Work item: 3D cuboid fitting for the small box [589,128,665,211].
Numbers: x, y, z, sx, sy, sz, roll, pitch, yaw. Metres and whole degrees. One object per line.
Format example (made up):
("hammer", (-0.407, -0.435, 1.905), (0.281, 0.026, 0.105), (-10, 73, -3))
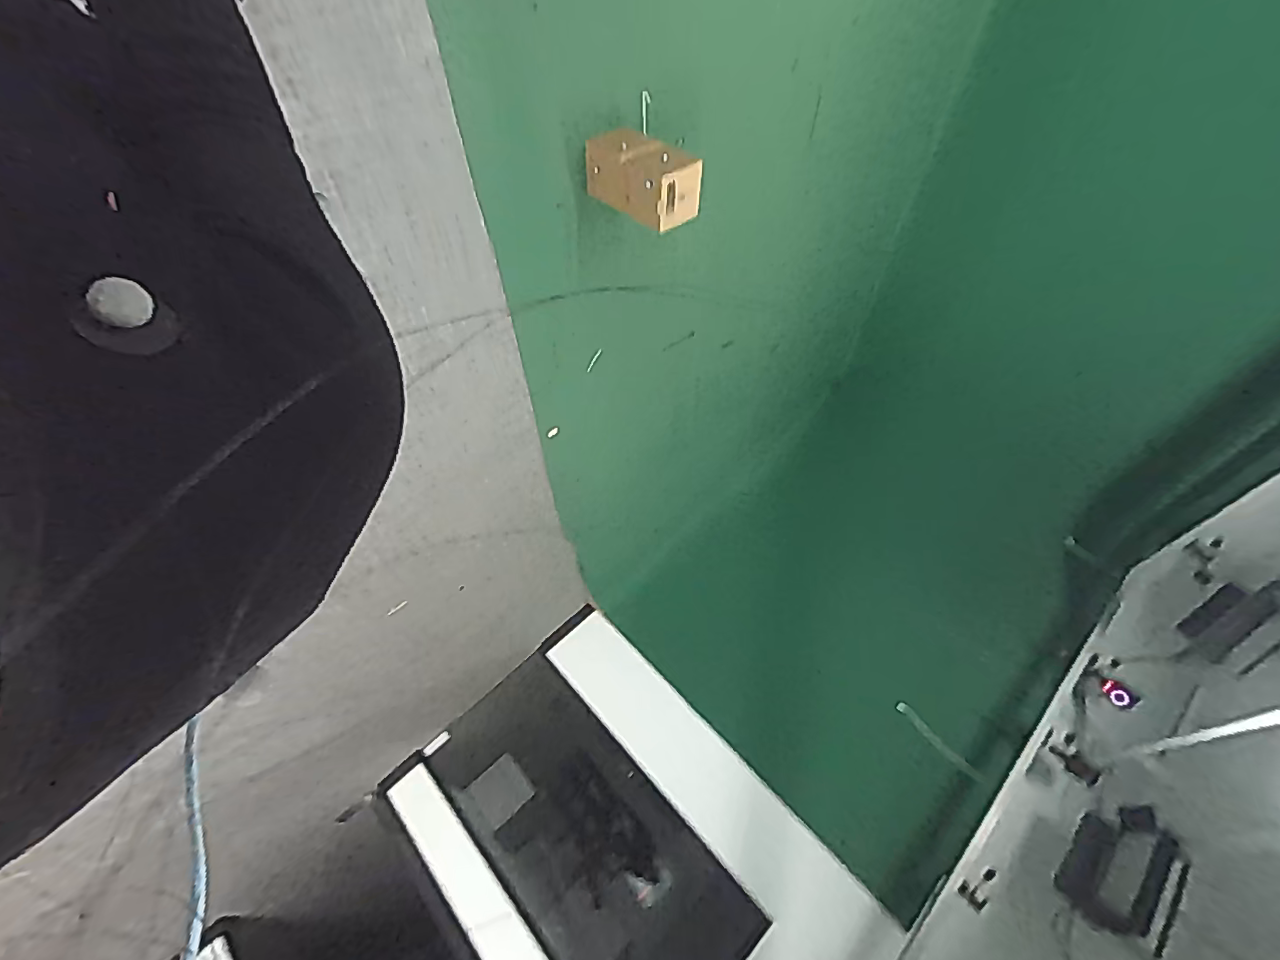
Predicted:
("small box", (-0.042, -1.001, 1.732), (0.179, 0.176, 0.168), (-35, 150, -25))
